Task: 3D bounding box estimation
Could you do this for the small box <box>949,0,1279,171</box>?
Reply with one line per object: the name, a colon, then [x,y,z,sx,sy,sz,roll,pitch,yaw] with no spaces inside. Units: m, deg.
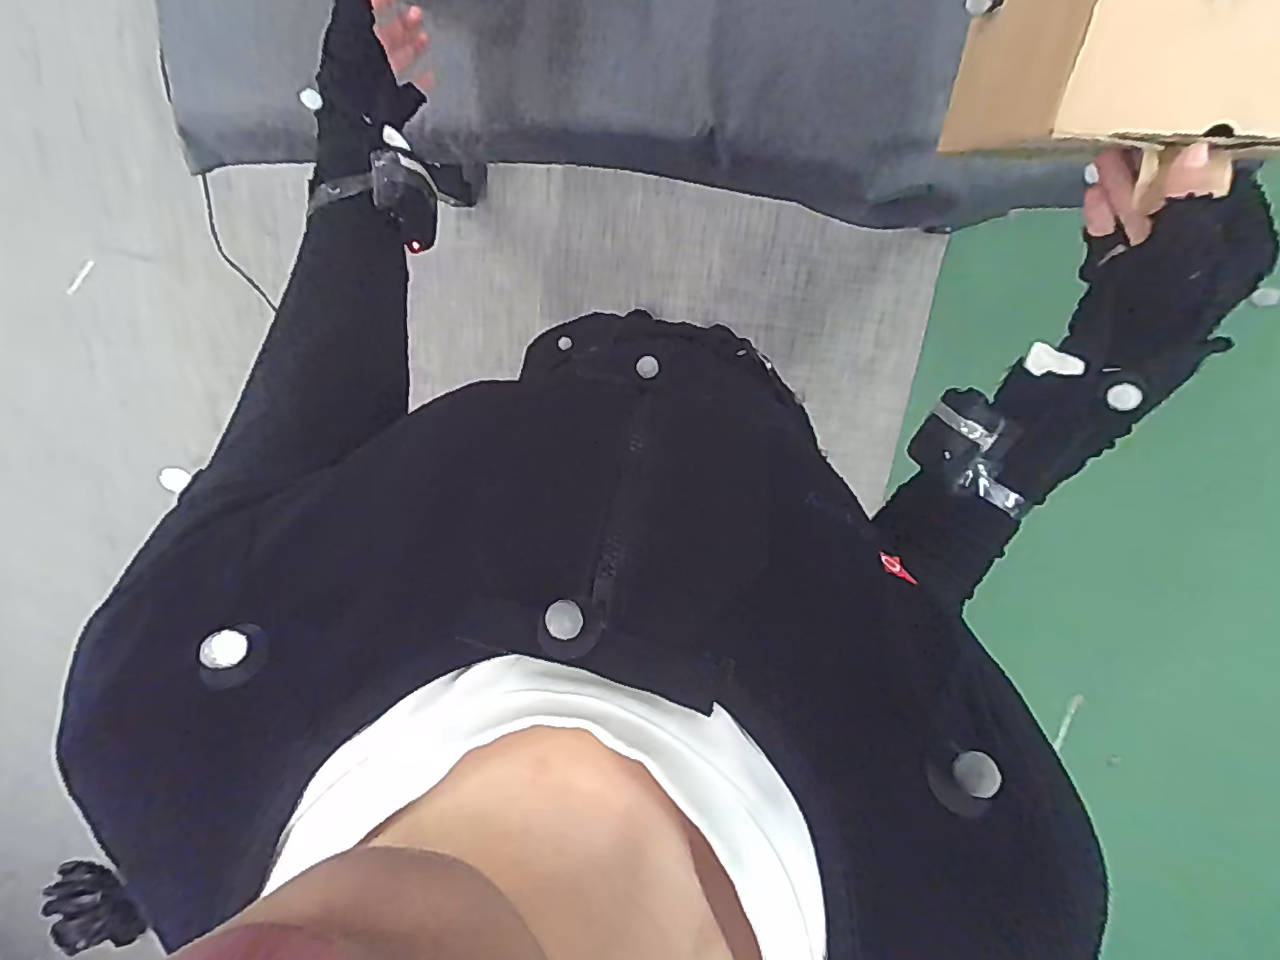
small box: [0.311,-0.284,0.315,0.168,0.176,0.179,5,119,4]
